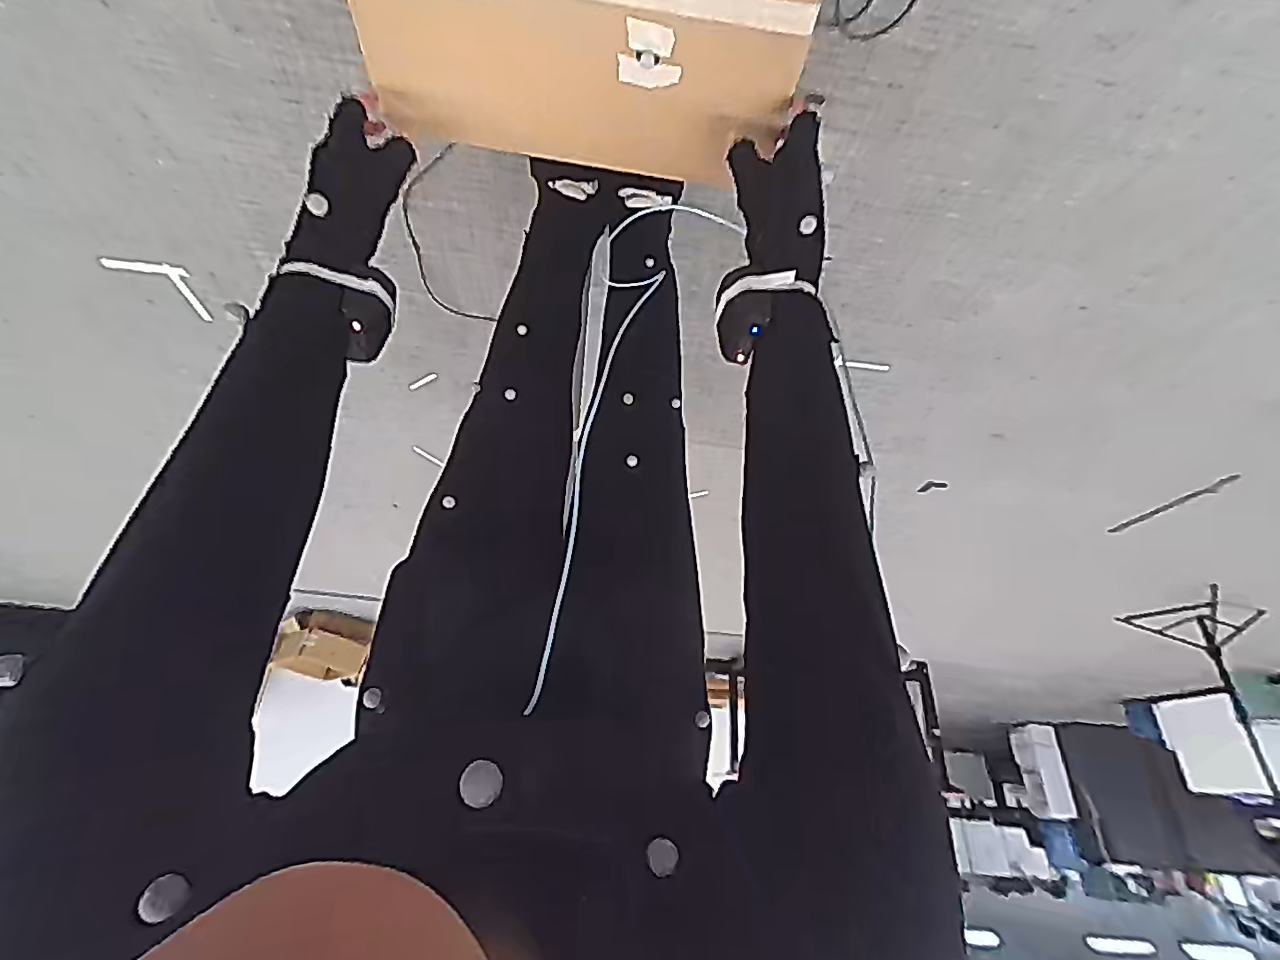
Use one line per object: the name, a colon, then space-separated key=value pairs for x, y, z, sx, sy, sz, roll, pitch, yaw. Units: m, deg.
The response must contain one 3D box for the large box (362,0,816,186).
large box: x=-0.037 y=-0.552 z=0.535 sx=0.408 sy=0.320 sz=0.320 roll=7 pitch=150 yaw=-3
